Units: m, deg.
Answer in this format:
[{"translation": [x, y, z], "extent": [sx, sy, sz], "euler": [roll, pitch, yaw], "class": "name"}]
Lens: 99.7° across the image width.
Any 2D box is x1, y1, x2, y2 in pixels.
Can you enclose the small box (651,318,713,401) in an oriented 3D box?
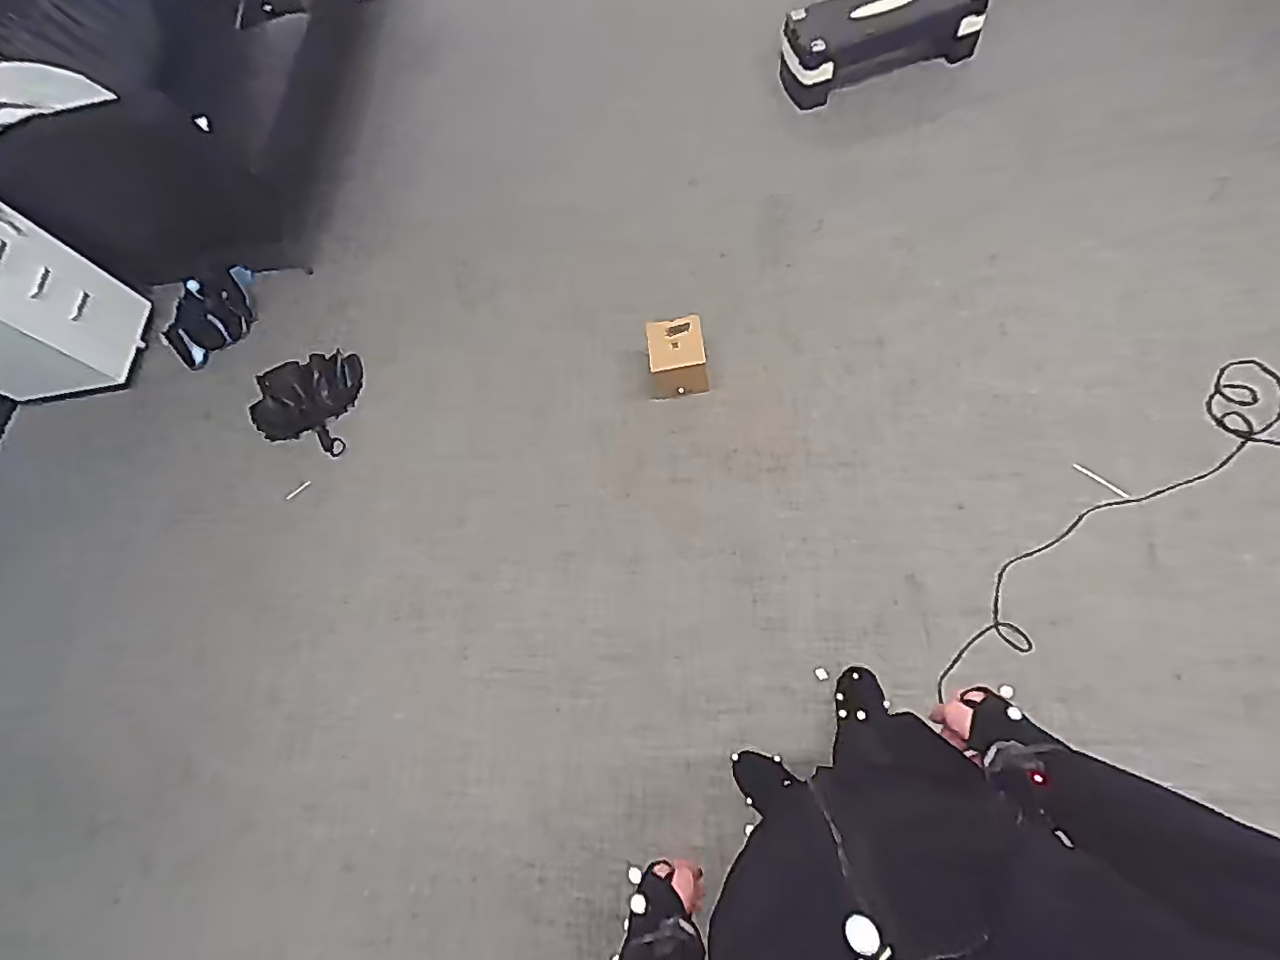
[{"translation": [0.132, -0.371, 1.682], "extent": [0.168, 0.176, 0.179], "euler": [-9, 68, 9], "class": "small box"}]
